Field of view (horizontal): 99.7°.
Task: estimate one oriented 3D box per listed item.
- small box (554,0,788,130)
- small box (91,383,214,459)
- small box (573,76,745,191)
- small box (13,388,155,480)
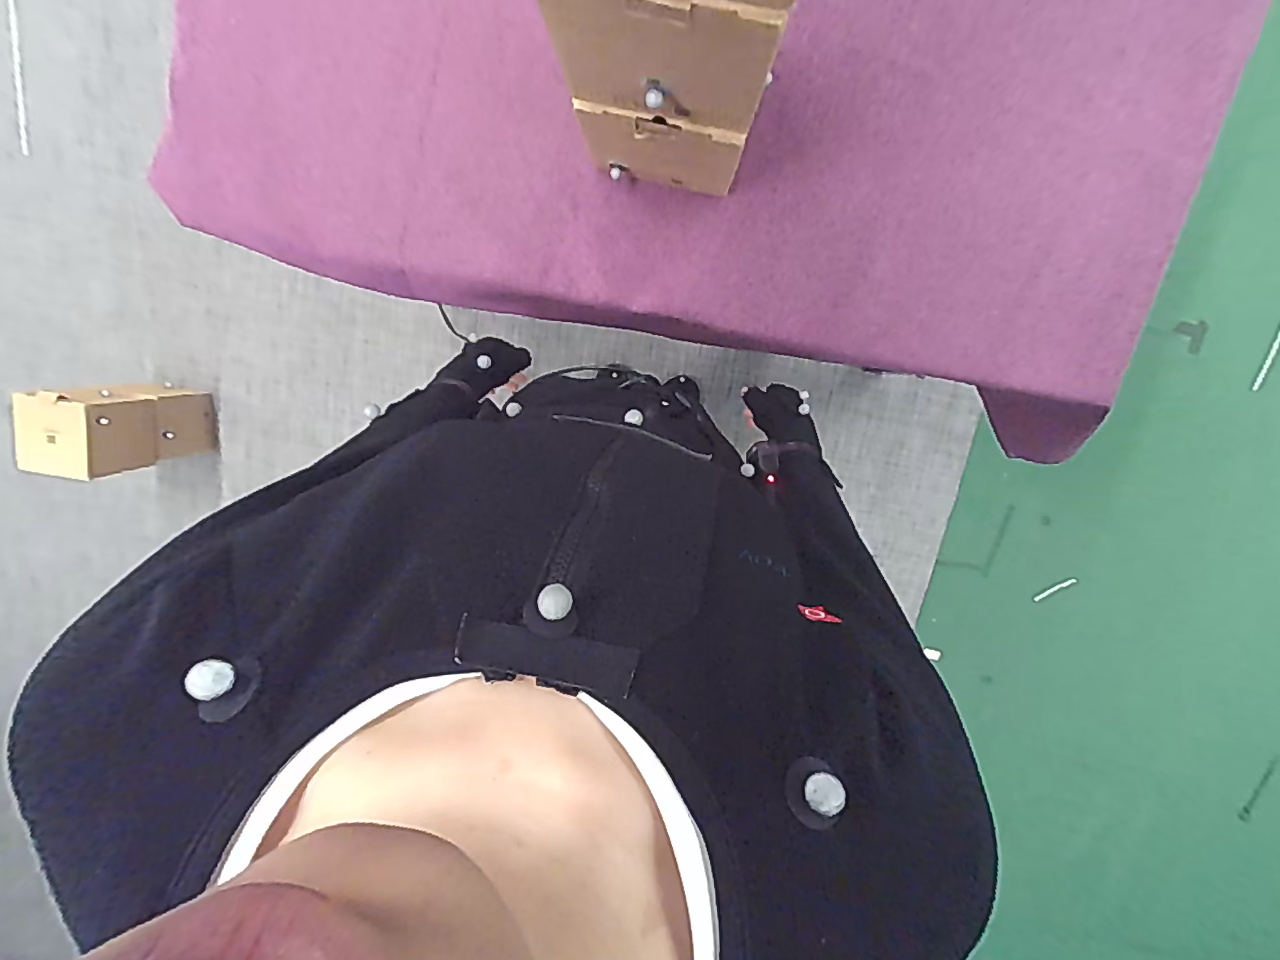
[{"bbox_3d":[0.031,-0.402,0.401,0.168,0.176,0.179,12,103,0],"label":"small box"},{"bbox_3d":[-1.275,-0.159,1.422,0.179,0.176,0.168,9,103,1],"label":"small box"},{"bbox_3d":[0.038,-0.428,0.563,0.168,0.176,0.179,12,102,0],"label":"small box"},{"bbox_3d":[-1.286,-0.113,1.265,0.168,0.176,0.179,9,102,0],"label":"small box"}]
